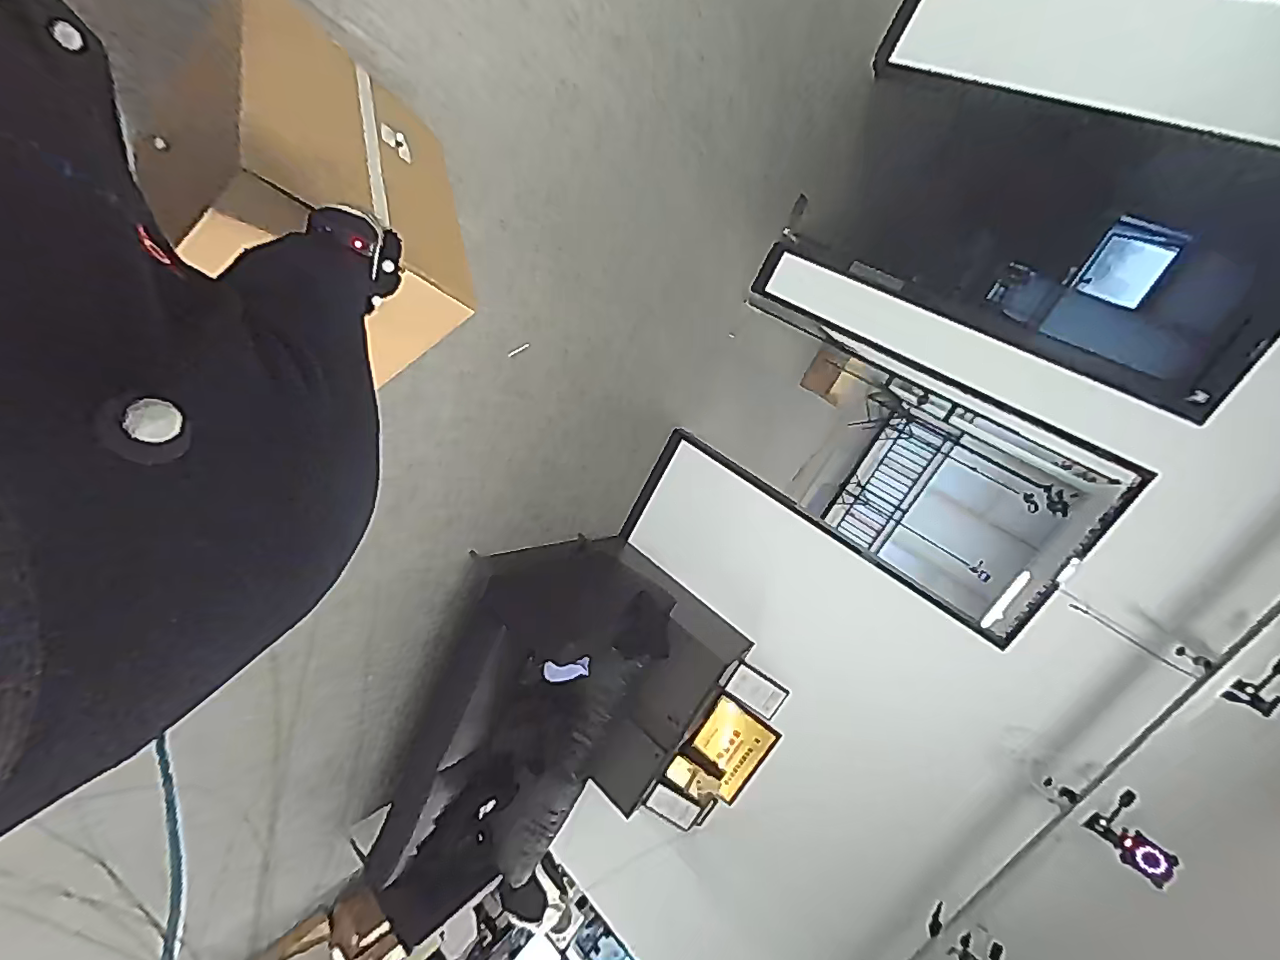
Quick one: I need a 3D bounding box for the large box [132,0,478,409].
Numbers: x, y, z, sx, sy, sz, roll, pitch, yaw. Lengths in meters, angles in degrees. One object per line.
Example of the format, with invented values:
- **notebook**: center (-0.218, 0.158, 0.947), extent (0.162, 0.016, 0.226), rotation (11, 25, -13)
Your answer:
- **large box**: center (-0.497, -0.379, 0.812), extent (0.320, 0.408, 0.320), rotation (-29, 155, 22)
